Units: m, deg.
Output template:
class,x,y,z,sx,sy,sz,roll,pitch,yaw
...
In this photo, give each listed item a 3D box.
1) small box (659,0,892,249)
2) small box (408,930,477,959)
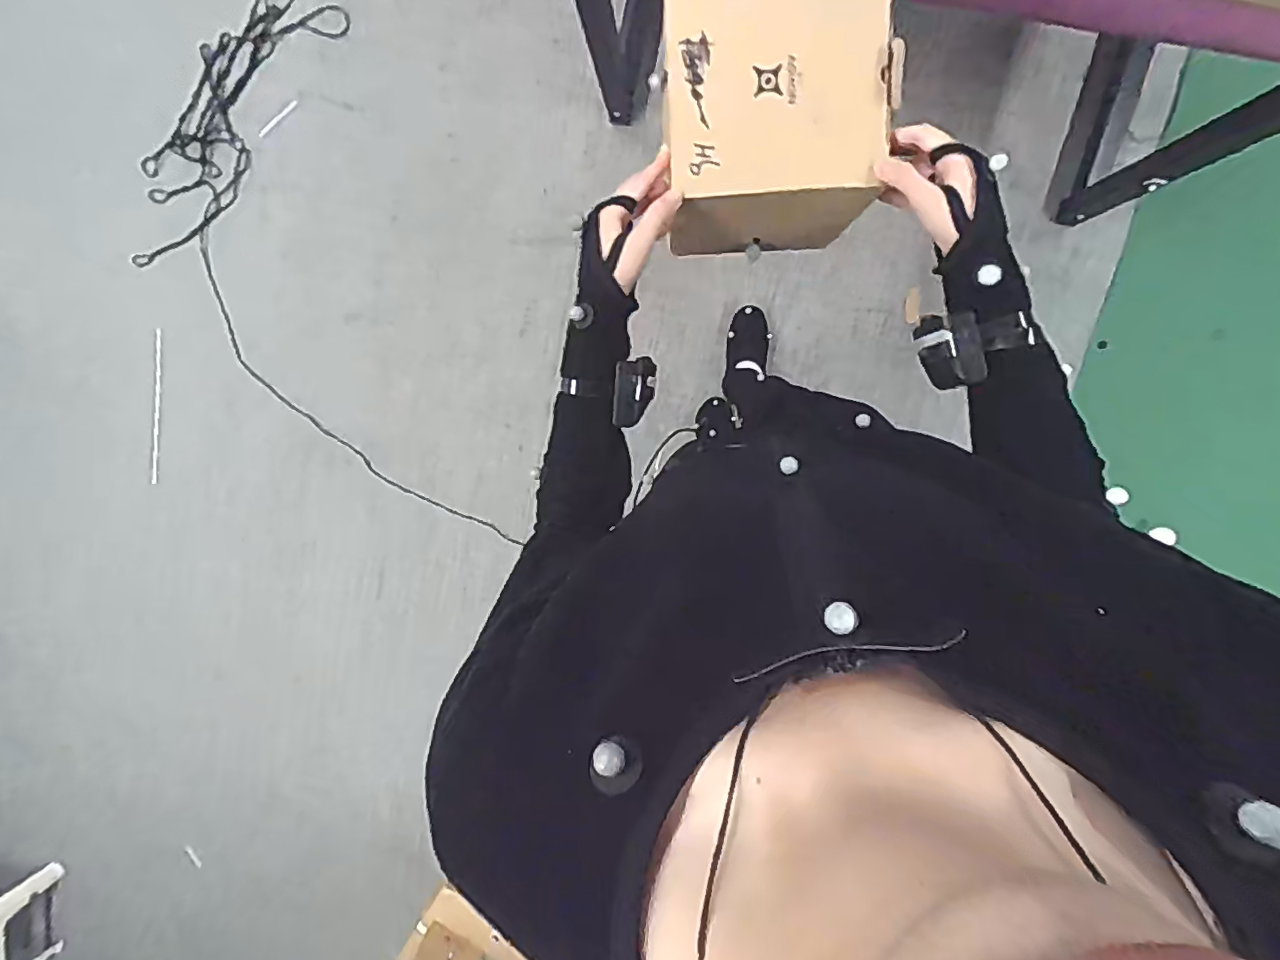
class,x,y,z,sx,sy,sz,roll,pitch,yaw
small box,0.108,-0.324,0.499,0.179,0.176,0.168,-2,96,2
small box,-0.540,1.311,1.369,0.168,0.176,0.179,31,101,0
